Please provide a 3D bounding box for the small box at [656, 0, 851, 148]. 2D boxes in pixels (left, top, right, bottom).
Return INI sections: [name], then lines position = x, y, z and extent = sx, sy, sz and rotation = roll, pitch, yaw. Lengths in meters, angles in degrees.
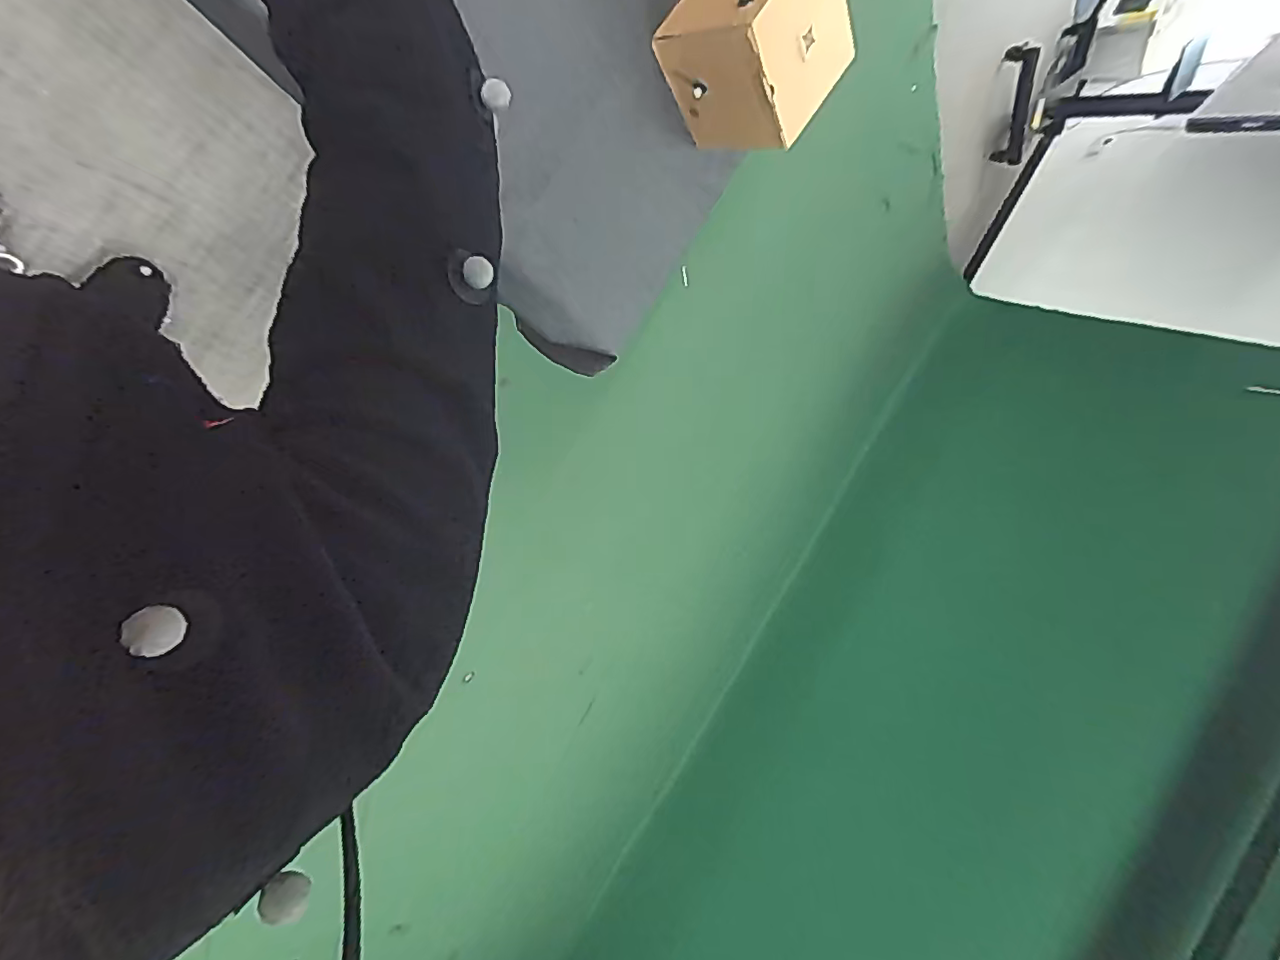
[small box]
position = 0.154, -0.589, 0.731
extent = 0.179, 0.176, 0.168
rotation = -55, 142, -4
